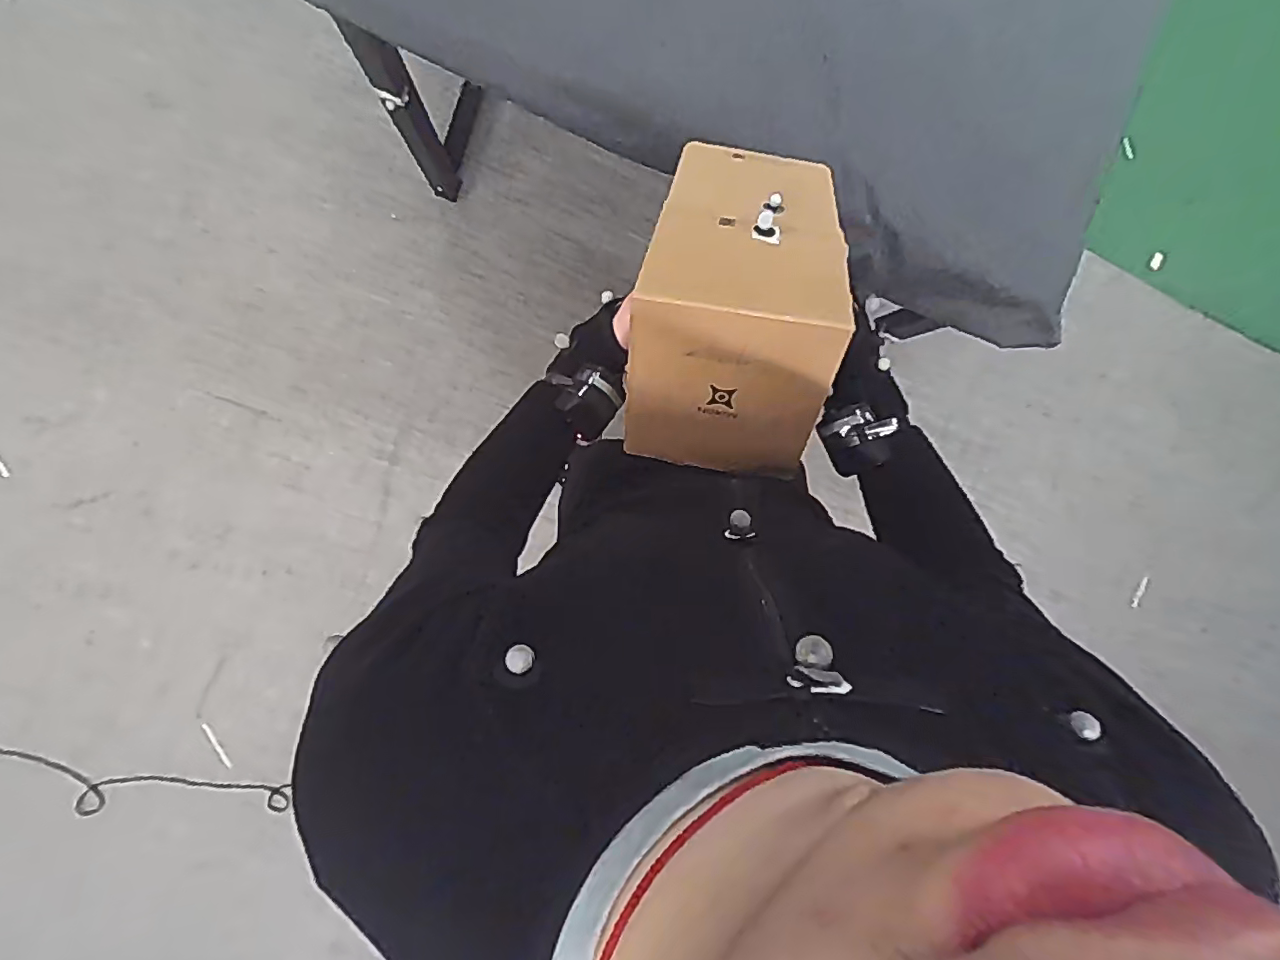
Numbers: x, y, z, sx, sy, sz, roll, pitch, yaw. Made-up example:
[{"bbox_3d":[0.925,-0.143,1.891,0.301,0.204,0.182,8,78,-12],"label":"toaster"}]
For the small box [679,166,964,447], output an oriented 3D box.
[{"bbox_3d":[0.167,-0.168,0.532,0.179,0.168,0.176,22,122,-25],"label":"small box"}]
